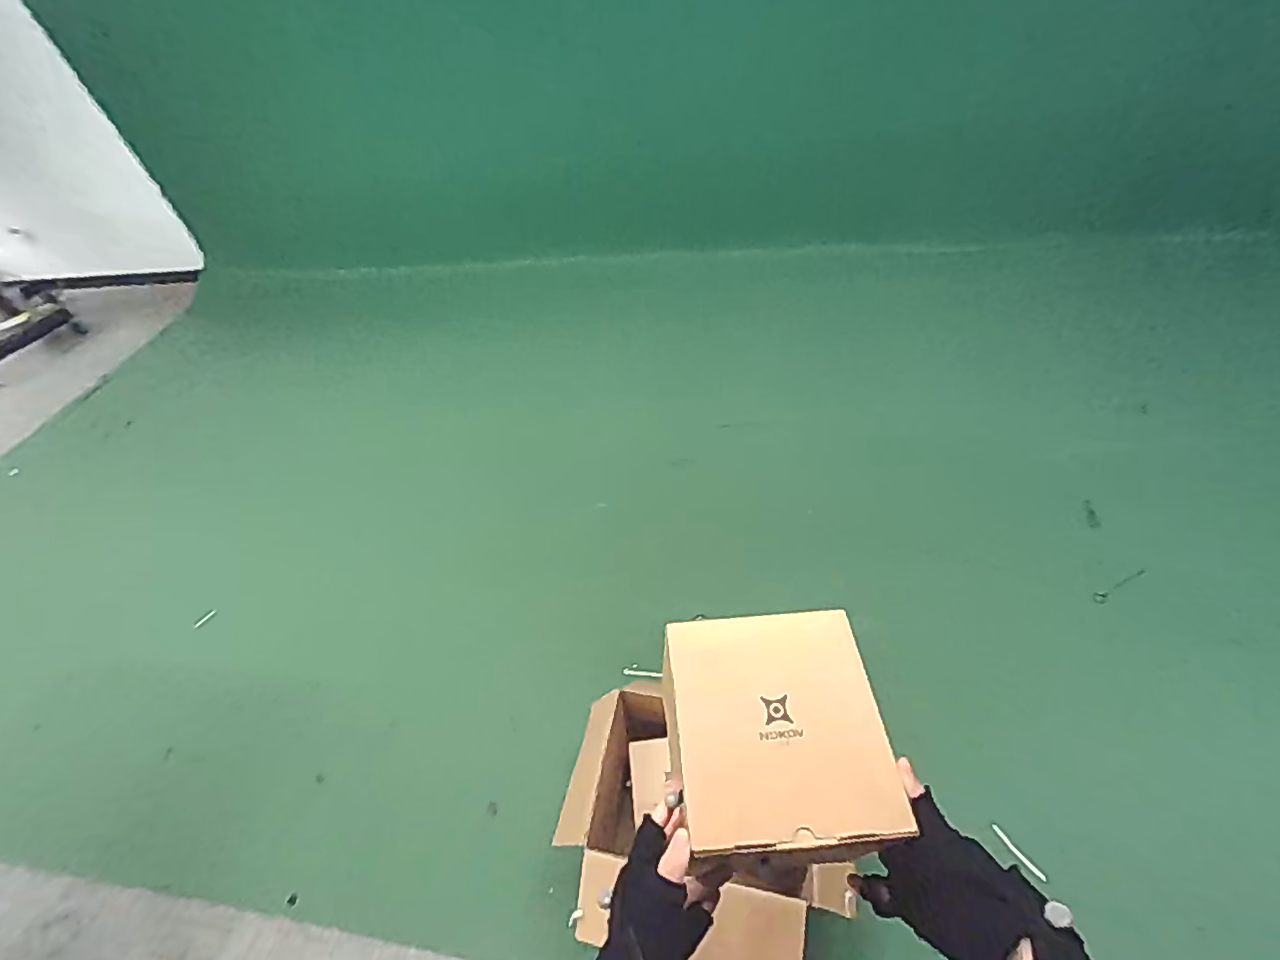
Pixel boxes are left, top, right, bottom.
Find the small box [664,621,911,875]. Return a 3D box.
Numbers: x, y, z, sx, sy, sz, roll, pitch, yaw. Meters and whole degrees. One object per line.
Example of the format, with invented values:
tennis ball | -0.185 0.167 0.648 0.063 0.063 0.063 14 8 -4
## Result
small box | 0.113 0.253 0.508 0.168 0.176 0.179 -4 51 -2
